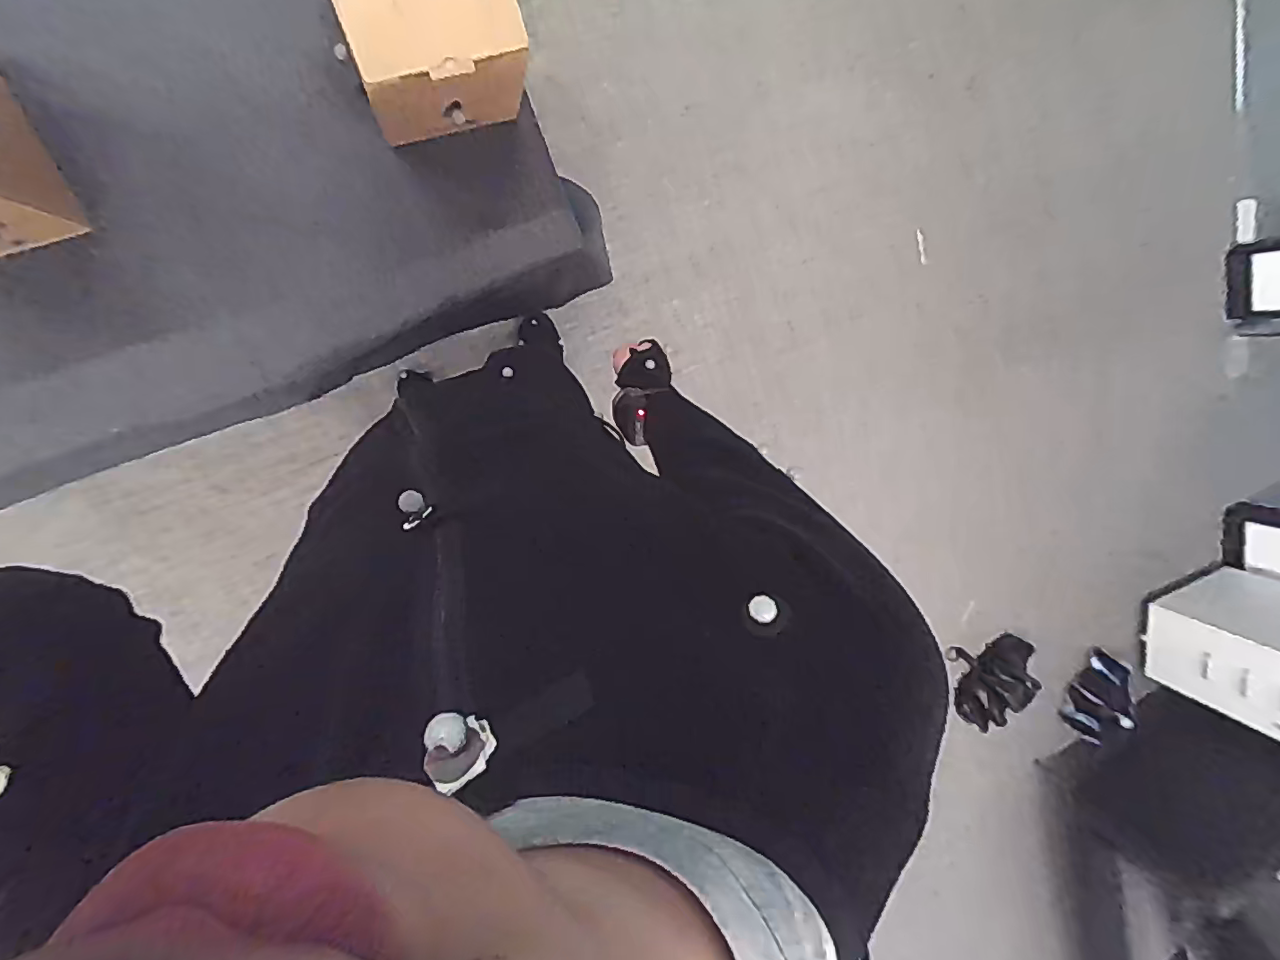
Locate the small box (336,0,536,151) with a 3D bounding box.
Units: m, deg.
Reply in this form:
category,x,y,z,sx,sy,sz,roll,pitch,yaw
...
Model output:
category,x,y,z,sx,sy,sz,roll,pitch,yaw
small box,-0.225,-0.484,0.586,0.168,0.176,0.179,-22,109,-11
